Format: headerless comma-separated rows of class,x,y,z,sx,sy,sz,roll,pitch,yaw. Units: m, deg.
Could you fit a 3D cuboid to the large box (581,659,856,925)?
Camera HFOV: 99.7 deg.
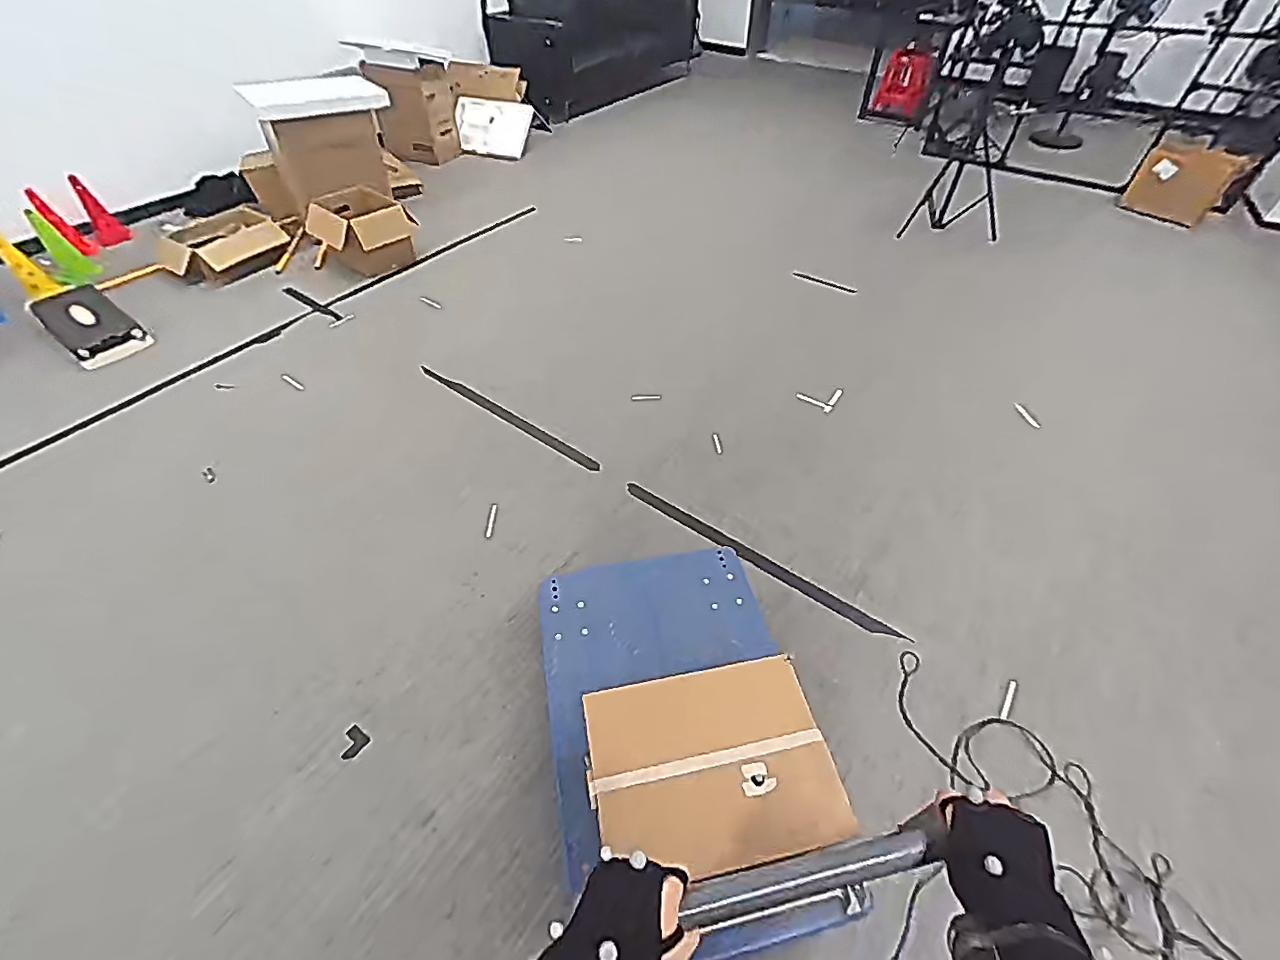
large box,0.115,0.590,1.029,0.408,0.320,0.320,-8,49,-9
